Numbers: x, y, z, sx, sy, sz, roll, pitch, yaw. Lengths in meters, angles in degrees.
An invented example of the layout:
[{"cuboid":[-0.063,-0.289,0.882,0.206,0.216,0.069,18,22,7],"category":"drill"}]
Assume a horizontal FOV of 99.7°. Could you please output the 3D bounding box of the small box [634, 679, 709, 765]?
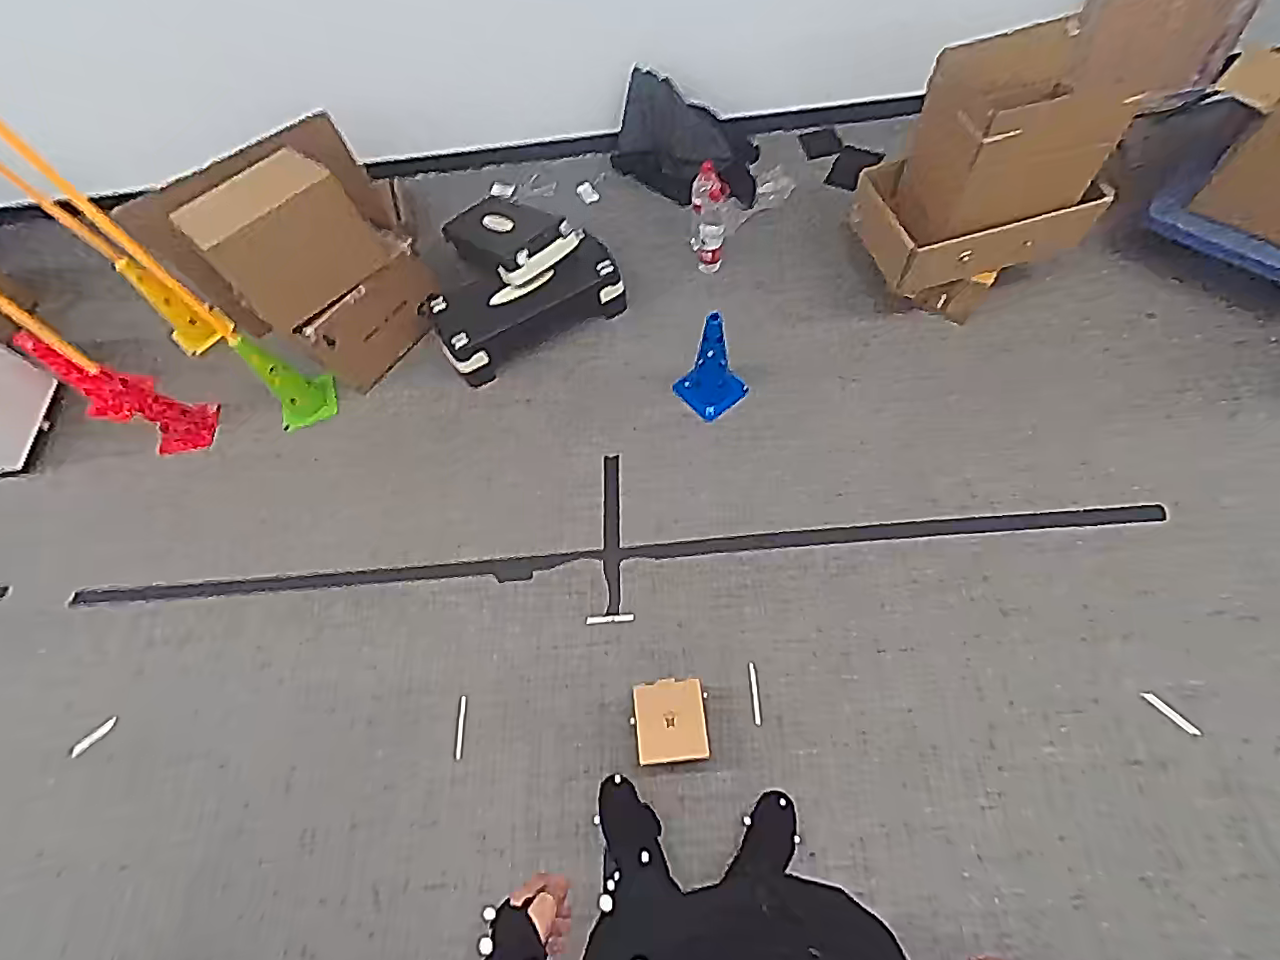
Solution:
[{"cuboid":[0.081,0.603,1.352,0.168,0.176,0.179,-8,64,2],"category":"small box"}]
